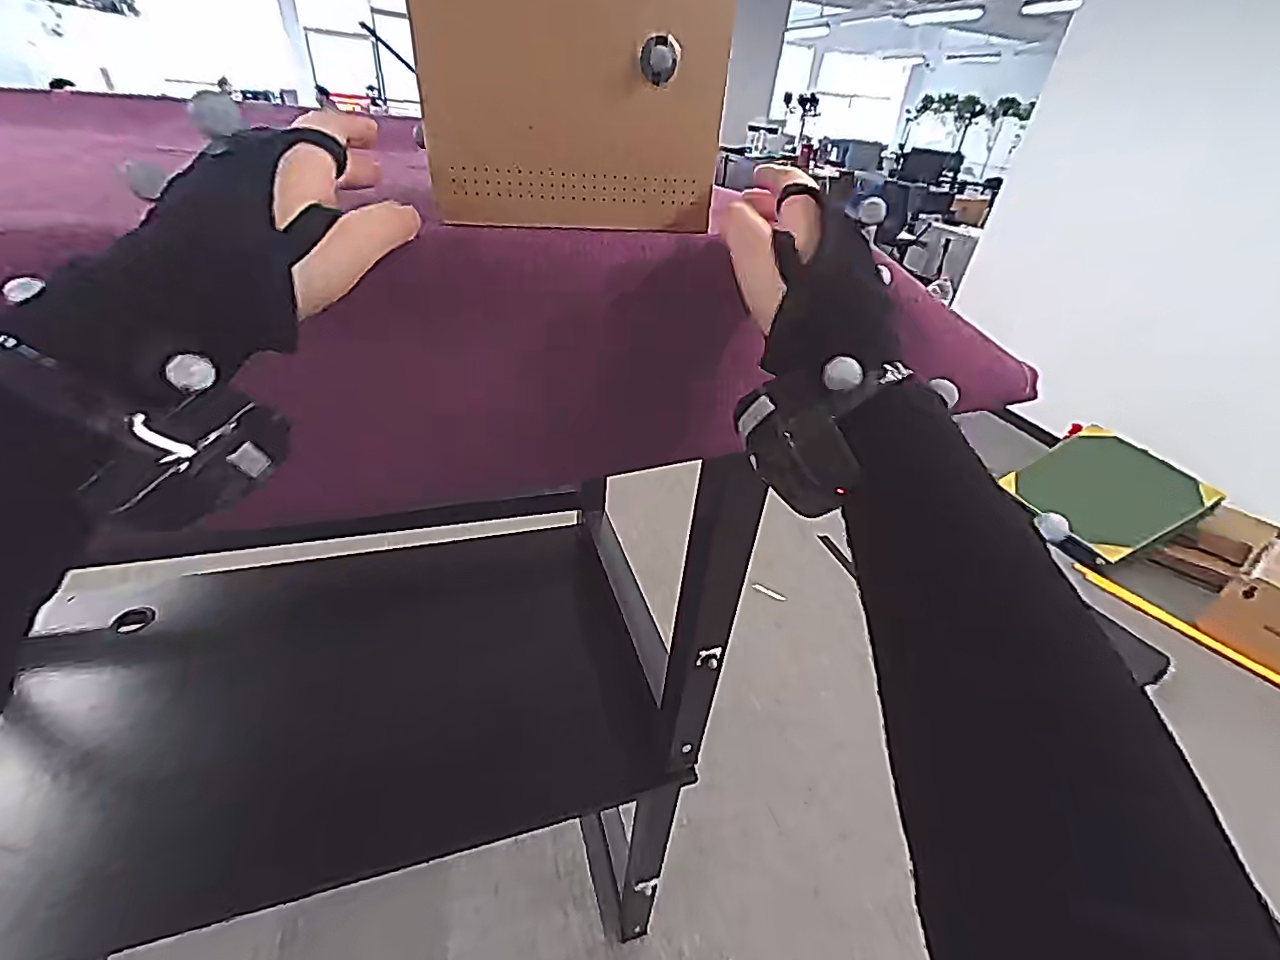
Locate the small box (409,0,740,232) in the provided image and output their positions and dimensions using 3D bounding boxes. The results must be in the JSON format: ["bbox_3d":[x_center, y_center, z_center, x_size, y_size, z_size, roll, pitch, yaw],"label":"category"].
[{"bbox_3d":[-0.046,-0.268,0.357,0.179,0.176,0.168,-4,35,-12],"label":"small box"}]
